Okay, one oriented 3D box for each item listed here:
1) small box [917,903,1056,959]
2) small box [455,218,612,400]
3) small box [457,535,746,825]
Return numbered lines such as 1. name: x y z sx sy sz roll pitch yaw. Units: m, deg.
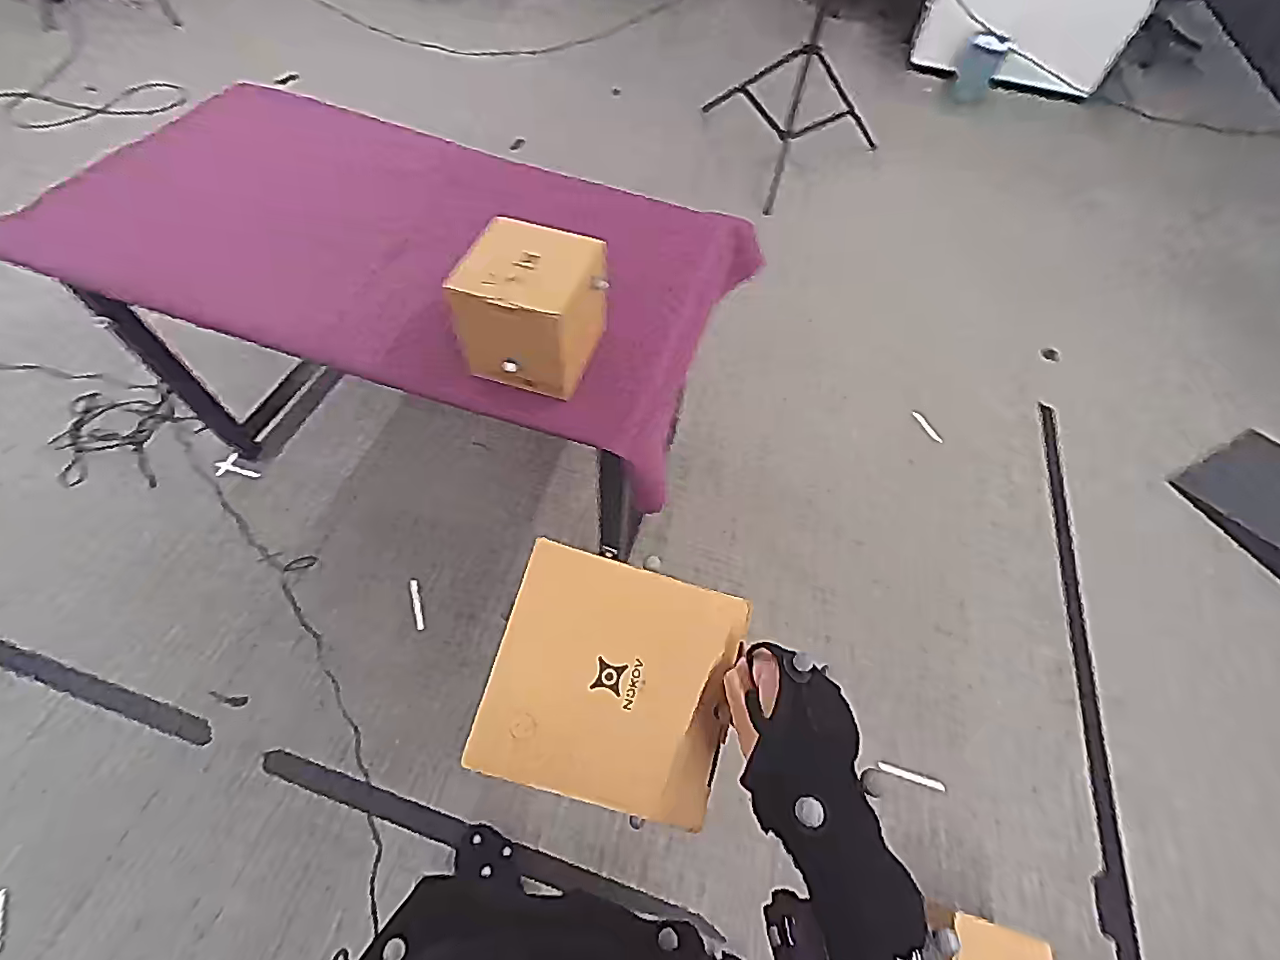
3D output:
1. small box: 0.640 0.925 1.014 0.179 0.176 0.168 16 60 4
2. small box: -0.148 -0.253 0.812 0.168 0.176 0.179 16 59 7
3. small box: -0.032 0.160 0.467 0.179 0.176 0.168 17 74 -4
